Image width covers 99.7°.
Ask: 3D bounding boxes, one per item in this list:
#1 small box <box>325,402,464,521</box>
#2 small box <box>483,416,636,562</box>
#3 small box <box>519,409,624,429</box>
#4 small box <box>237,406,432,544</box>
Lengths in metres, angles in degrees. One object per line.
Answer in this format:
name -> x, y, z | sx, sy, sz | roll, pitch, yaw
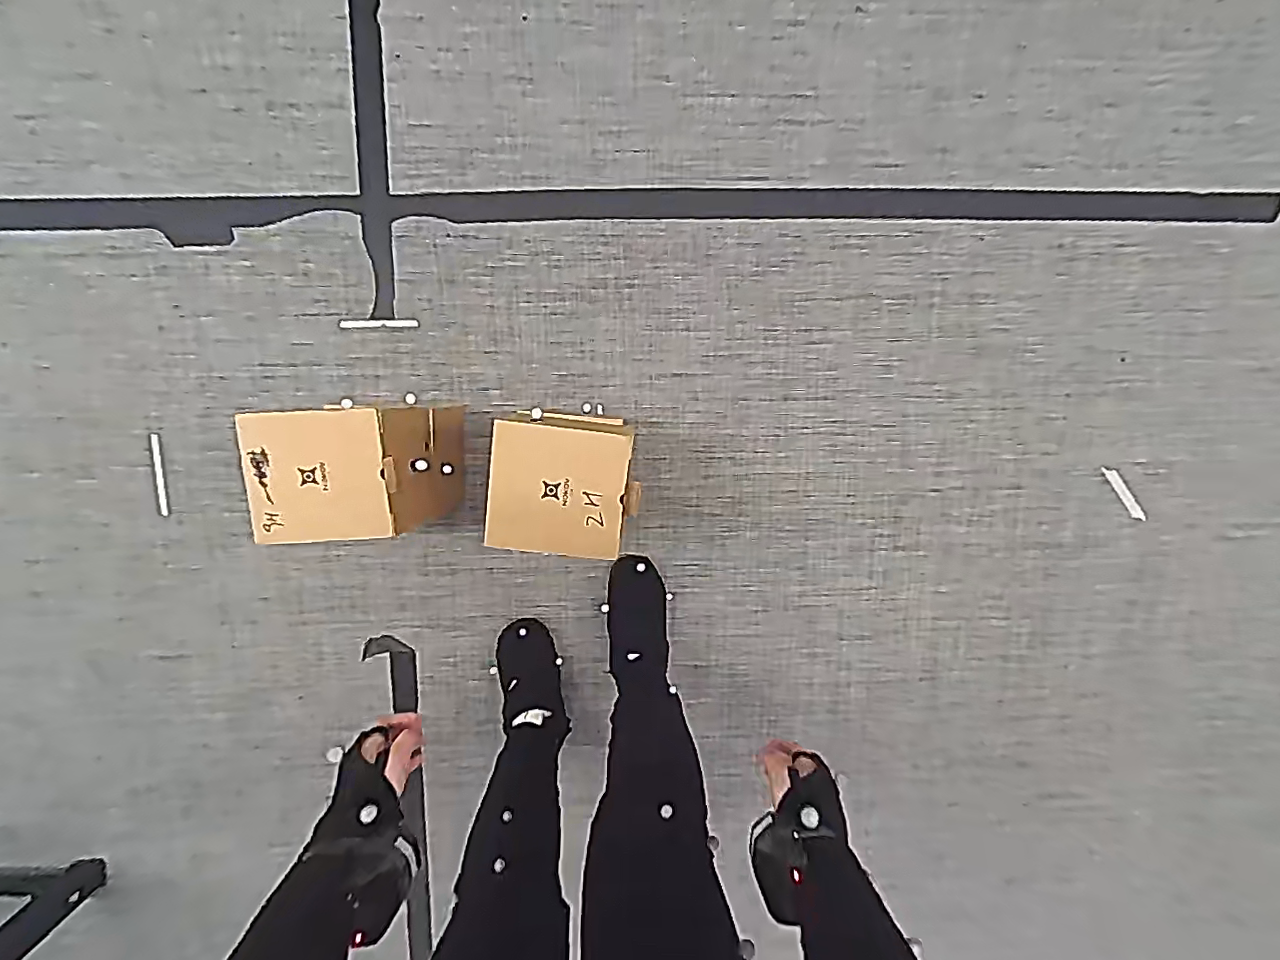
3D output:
small box -> -0.398, -0.037, 0.903 | 0.168, 0.176, 0.179 | 3, 98, -3
small box -> -0.105, 0.003, 0.756 | 0.179, 0.176, 0.168 | 7, 99, -4
small box -> -0.116, -0.024, 0.918 | 0.168, 0.176, 0.179 | 6, 98, -4
small box -> -0.397, -0.016, 0.739 | 0.179, 0.176, 0.168 | -2, 98, -3
